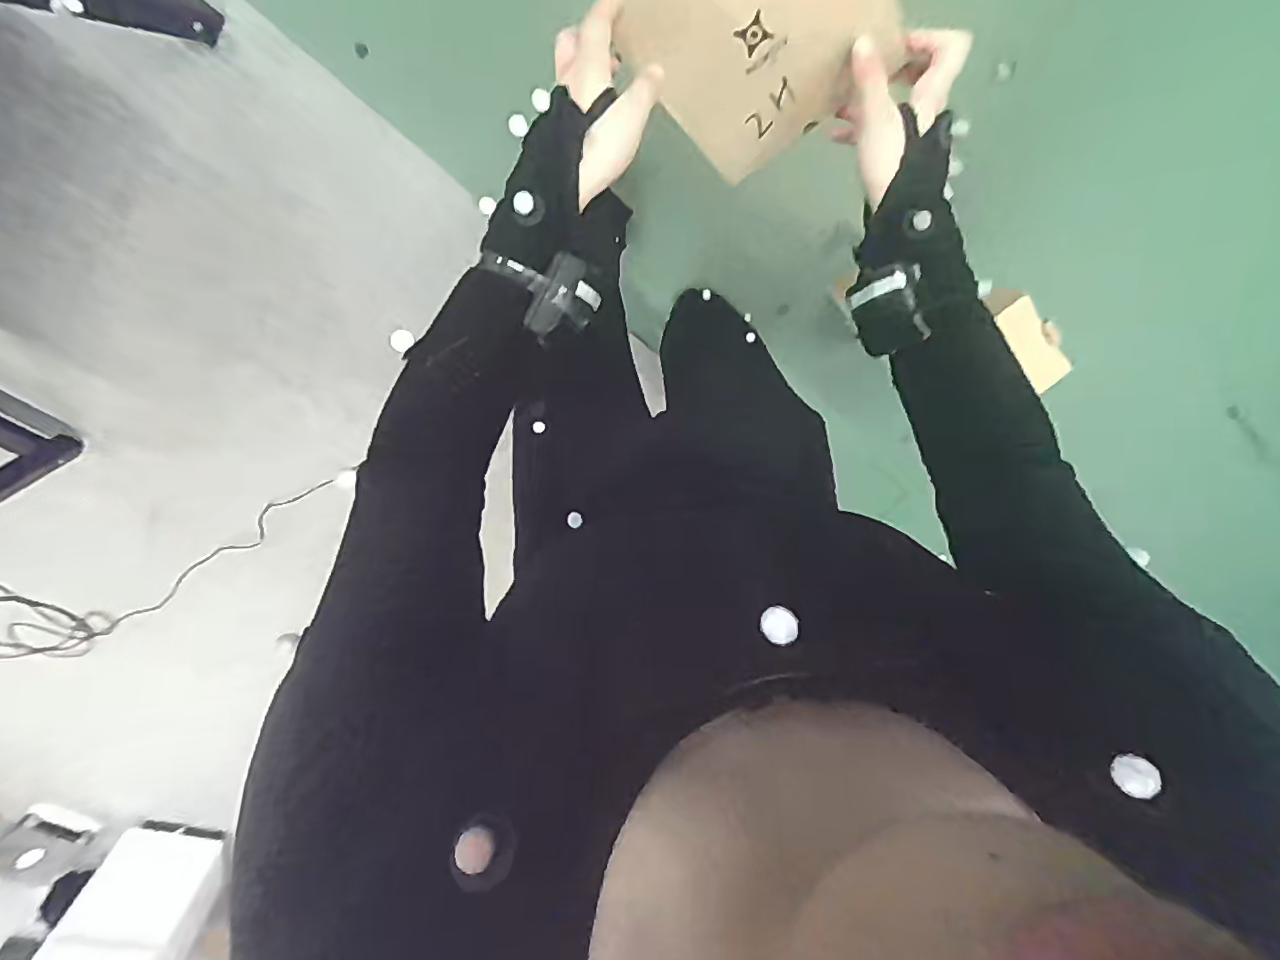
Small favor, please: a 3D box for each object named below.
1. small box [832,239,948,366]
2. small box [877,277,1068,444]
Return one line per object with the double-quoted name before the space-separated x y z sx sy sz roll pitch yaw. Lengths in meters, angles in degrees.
"small box" 0.534 -0.381 1.154 0.179 0.176 0.168 -37 116 20
"small box" 0.527 -0.200 0.880 0.168 0.176 0.179 39 114 -24
